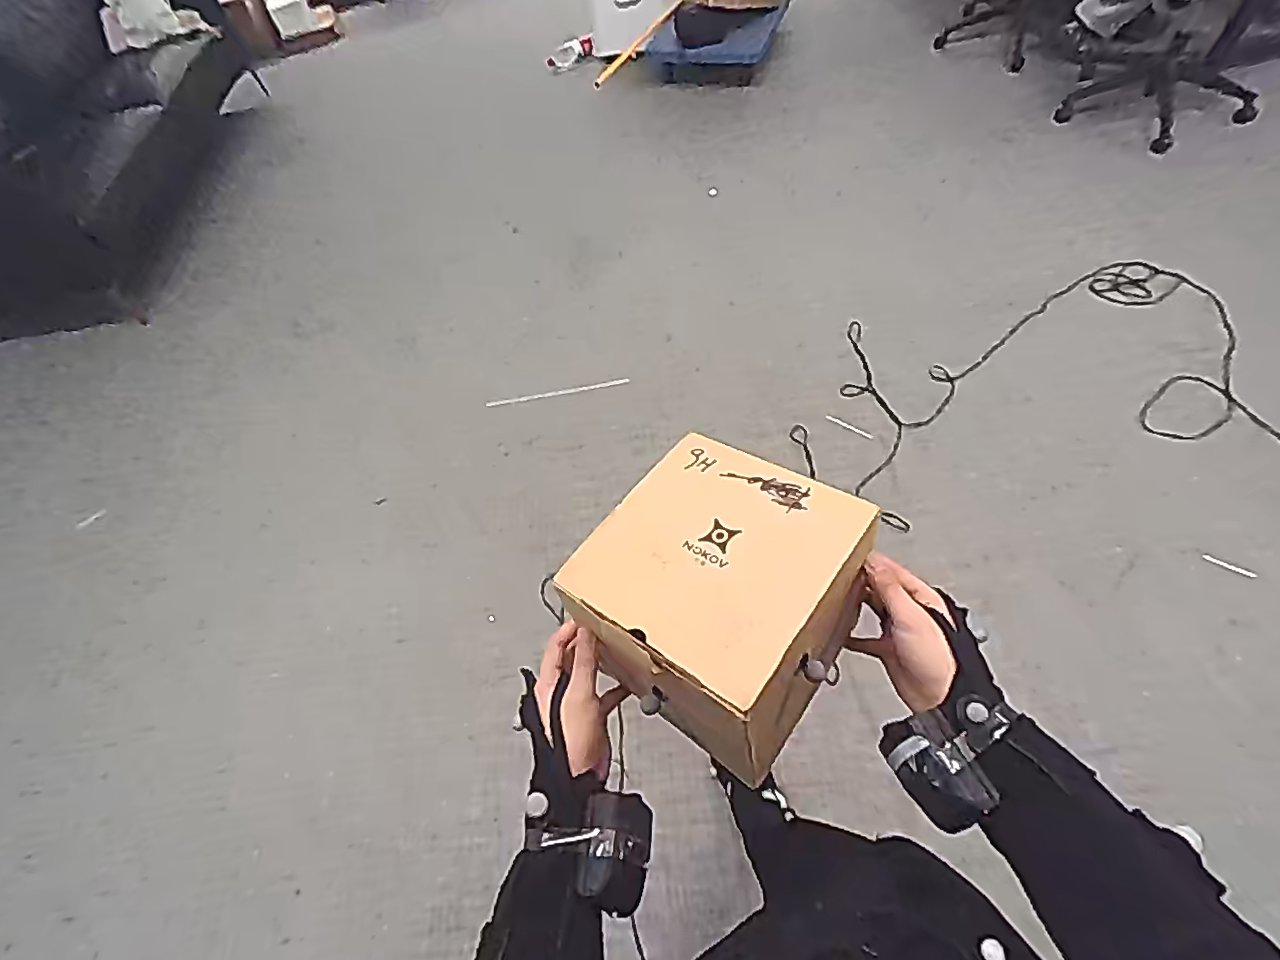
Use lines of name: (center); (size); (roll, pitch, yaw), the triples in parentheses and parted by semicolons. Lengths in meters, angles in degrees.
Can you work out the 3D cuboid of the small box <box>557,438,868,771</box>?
small box: (0.067, 0.102, 0.449); (0.168, 0.176, 0.179); (26, 60, 33)
